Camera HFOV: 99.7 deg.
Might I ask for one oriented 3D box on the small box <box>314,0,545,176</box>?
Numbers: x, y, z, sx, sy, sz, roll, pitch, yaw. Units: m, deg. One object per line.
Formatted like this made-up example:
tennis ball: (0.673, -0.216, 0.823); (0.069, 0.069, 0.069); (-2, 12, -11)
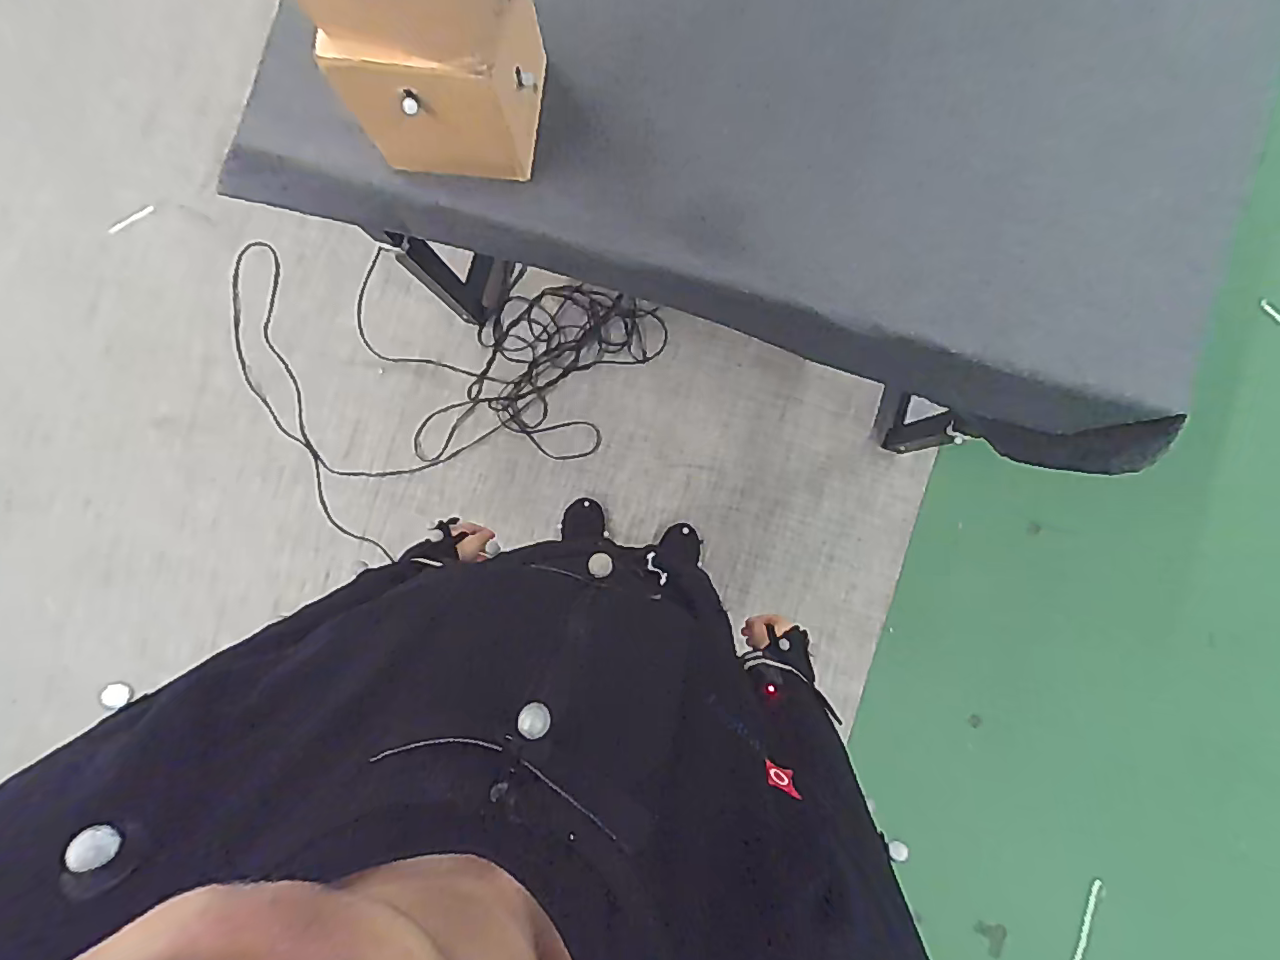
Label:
small box: (-0.210, -0.463, 0.590); (0.179, 0.176, 0.168); (7, 87, 2)

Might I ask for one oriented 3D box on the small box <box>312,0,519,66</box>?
small box: (-0.196, -0.480, 0.428); (0.179, 0.176, 0.168); (16, 89, 1)
